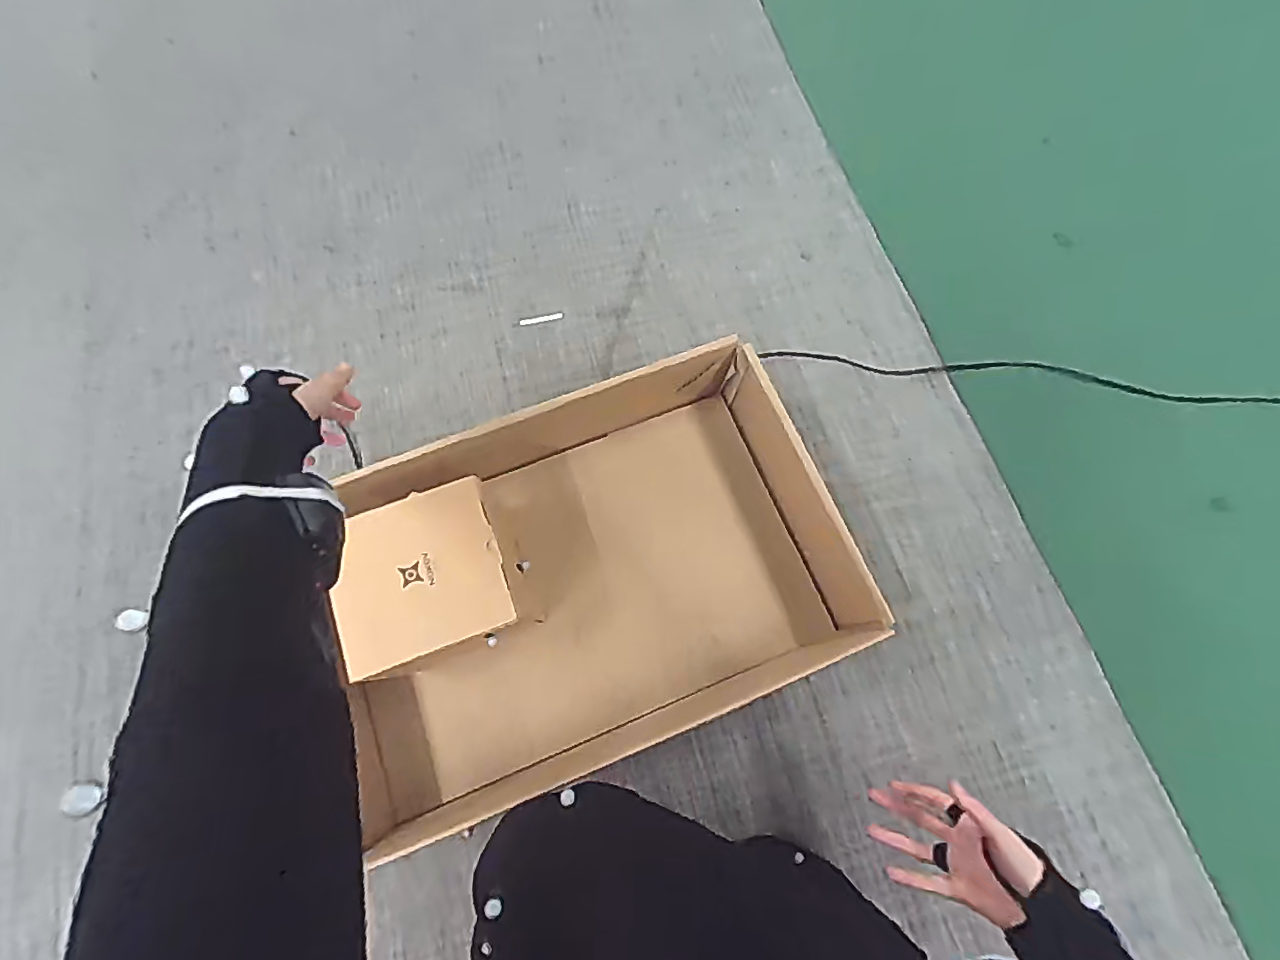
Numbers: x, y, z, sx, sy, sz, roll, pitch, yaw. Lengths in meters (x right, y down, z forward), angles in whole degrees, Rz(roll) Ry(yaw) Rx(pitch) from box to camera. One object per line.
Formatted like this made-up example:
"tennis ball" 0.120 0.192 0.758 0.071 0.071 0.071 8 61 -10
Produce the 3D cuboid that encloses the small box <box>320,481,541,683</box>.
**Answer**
"small box" -0.234 0.125 0.640 0.179 0.176 0.168 -20 75 -7
